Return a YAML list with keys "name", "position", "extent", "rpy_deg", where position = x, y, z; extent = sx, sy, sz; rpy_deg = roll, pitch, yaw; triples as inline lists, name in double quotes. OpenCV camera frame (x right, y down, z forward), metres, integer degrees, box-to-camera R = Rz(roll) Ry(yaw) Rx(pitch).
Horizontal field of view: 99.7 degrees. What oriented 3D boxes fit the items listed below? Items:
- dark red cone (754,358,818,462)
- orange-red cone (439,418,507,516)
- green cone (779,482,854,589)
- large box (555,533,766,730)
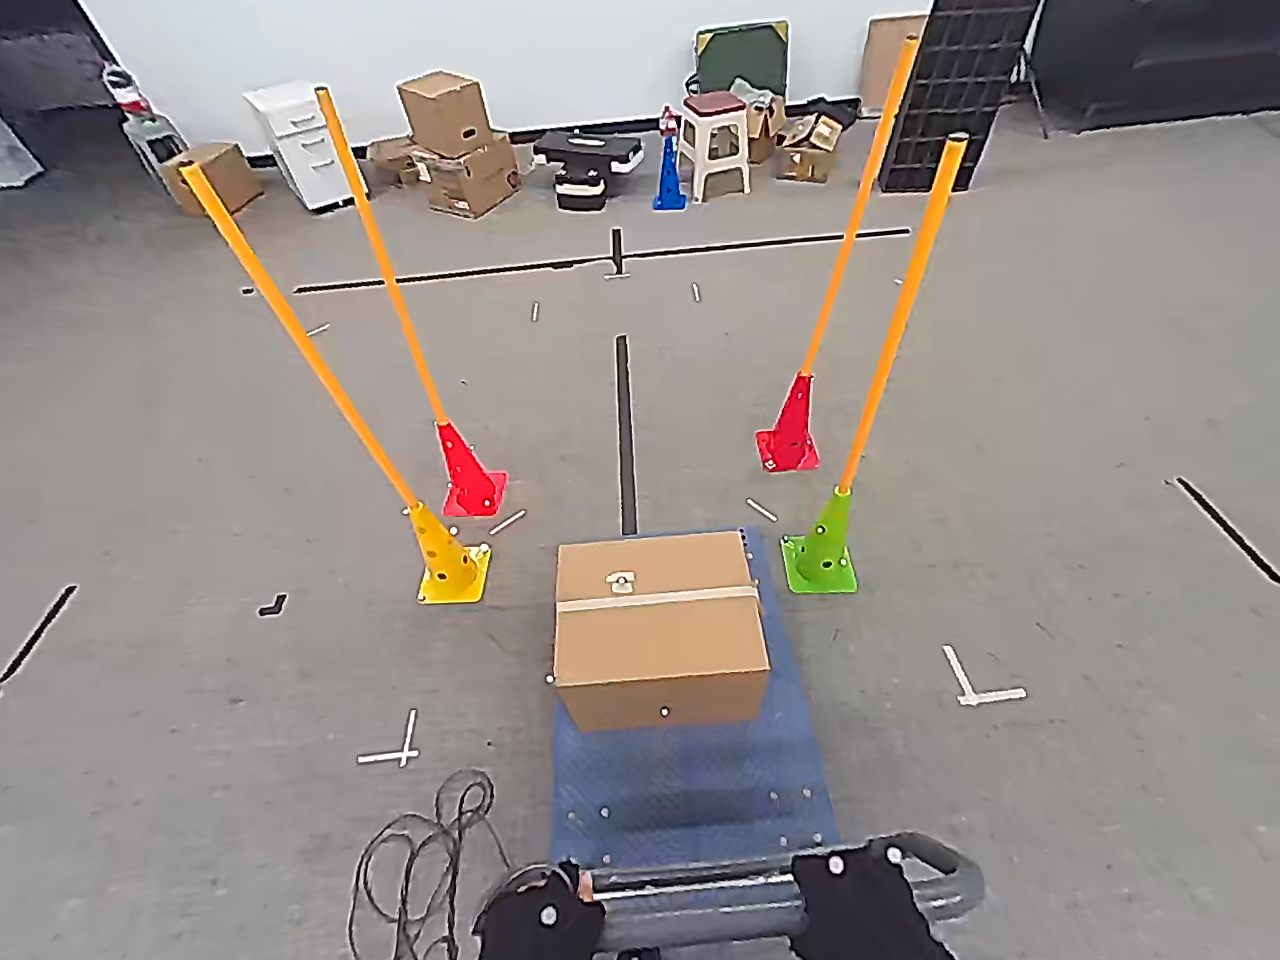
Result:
- name: "dark red cone"
  position: [0.523, -0.244, 1.836]
  extent: [0.201, 0.394, 0.202]
  rpy_deg: [-4, 50, -1]
- name: "orange-red cone"
  position: [-0.597, -0.065, 1.801]
  extent: [0.198, 0.360, 0.199]
  rpy_deg: [1, 49, 4]
- name: "green cone"
  position: [0.534, 0.138, 1.536]
  extent: [0.202, 0.368, 0.200]
  rpy_deg: [-1, 50, 2]
- name: "large box"
  position: [0.040, 0.347, 1.213]
  extent: [0.408, 0.320, 0.320]
  rpy_deg: [-5, 50, 1]
